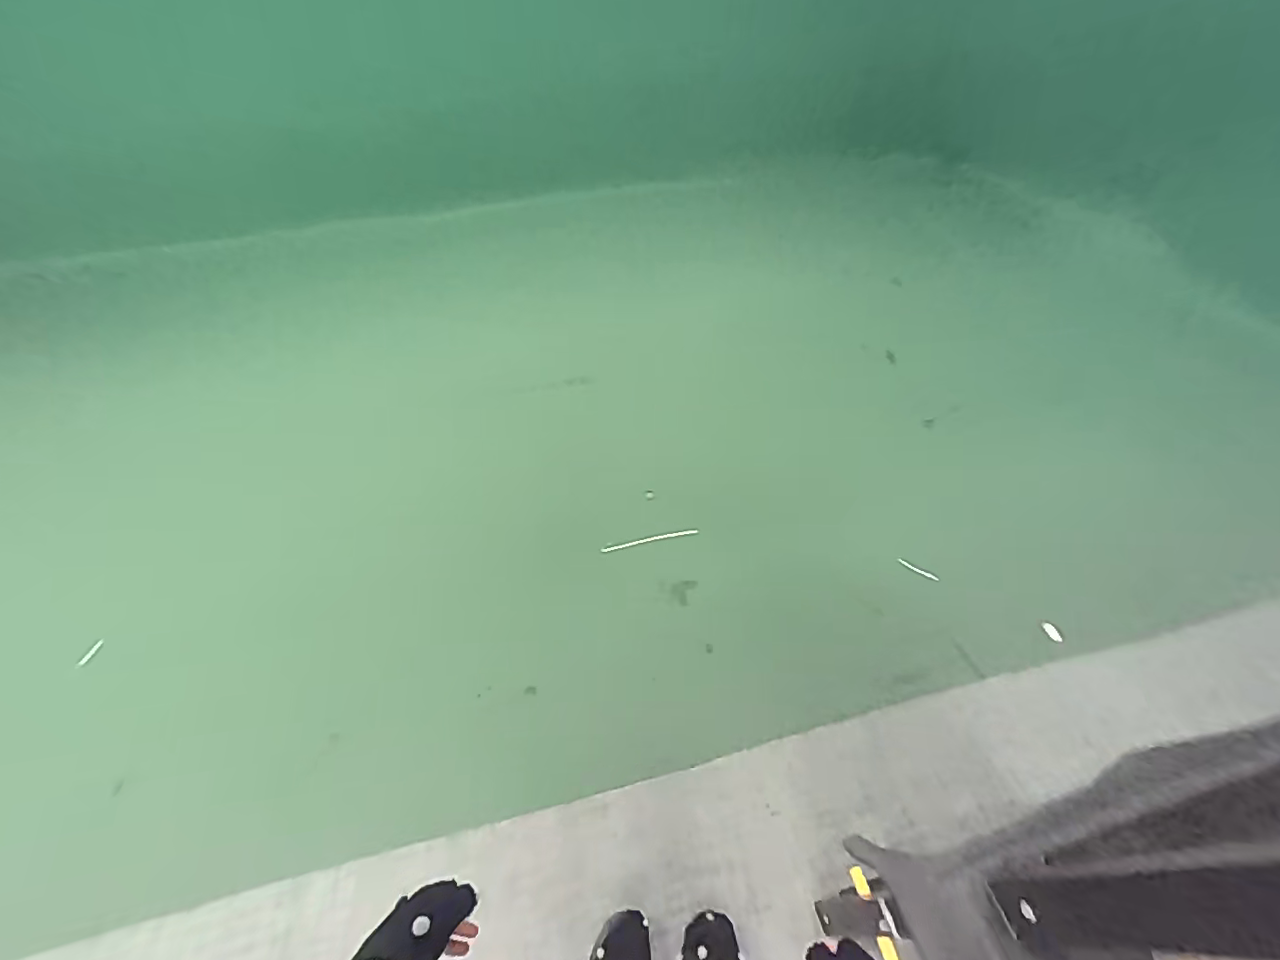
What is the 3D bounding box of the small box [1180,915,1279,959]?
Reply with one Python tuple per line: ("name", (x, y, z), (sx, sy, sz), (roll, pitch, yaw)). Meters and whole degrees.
("small box", (0.615, 0.473, 0.440), (0.179, 0.176, 0.168), (-10, 52, -7))
